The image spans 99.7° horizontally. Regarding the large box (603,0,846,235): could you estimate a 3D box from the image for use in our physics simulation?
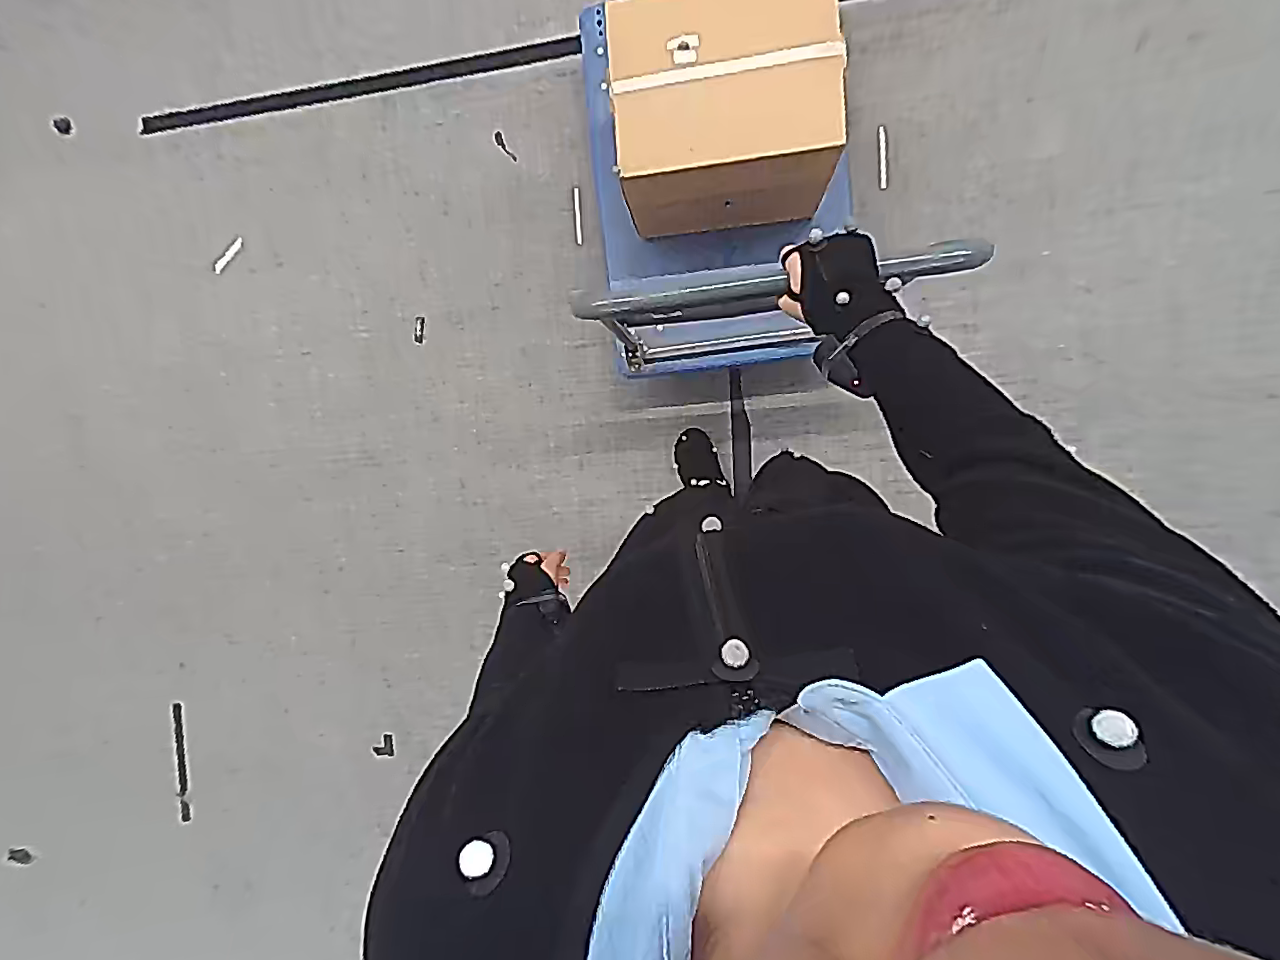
[{"bbox_3d":[0.166,-0.730,1.090,0.408,0.320,0.320,-4,92,9],"label":"large box"}]
